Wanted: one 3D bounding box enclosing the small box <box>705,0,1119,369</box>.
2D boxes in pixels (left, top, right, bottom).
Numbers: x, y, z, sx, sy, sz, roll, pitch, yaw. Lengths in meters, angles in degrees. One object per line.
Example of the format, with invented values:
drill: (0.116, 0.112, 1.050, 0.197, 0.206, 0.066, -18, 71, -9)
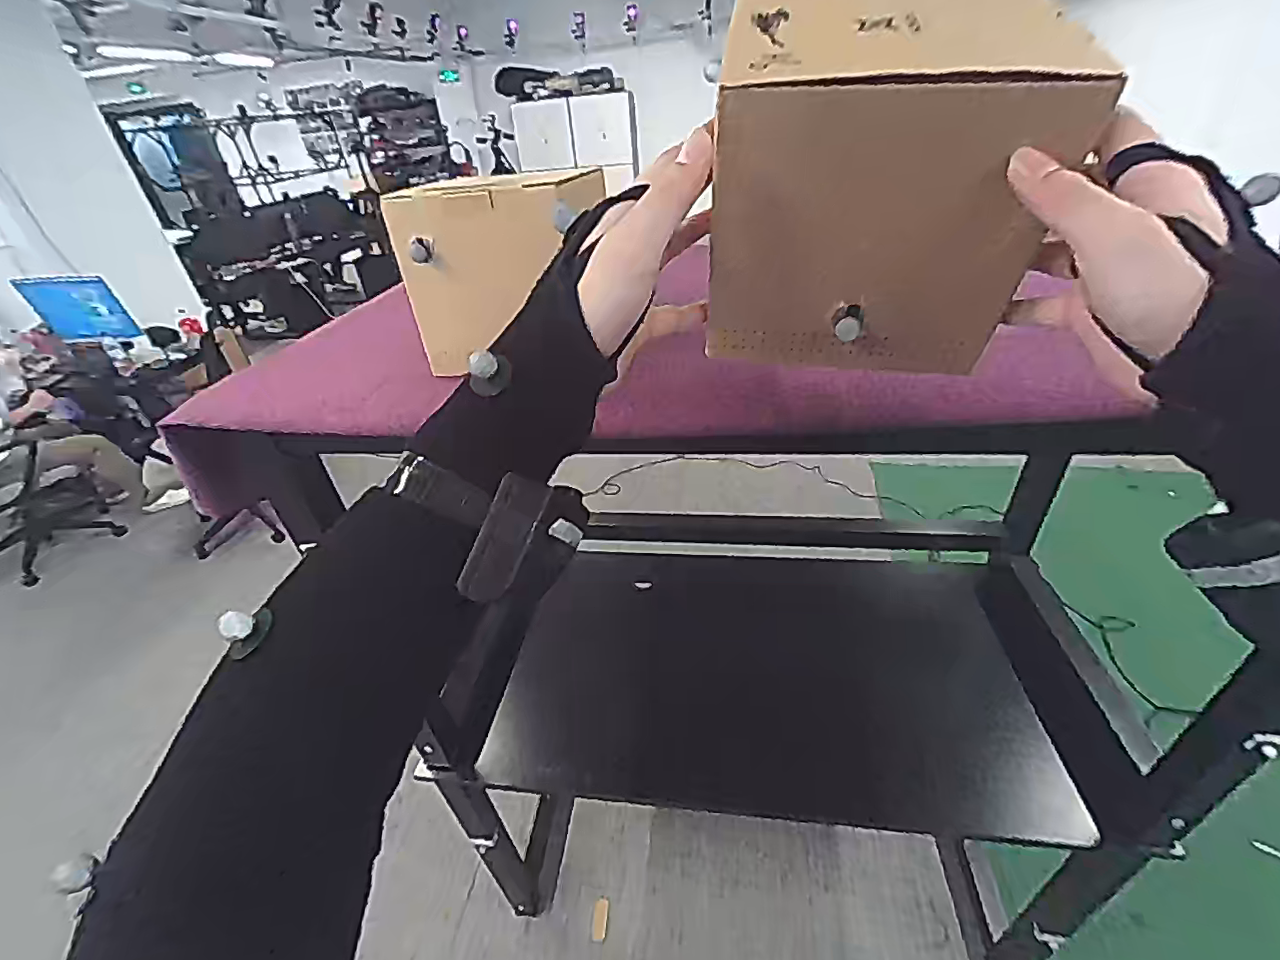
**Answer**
small box: (0.141, -0.191, 0.354, 0.179, 0.176, 0.168, 6, 52, 9)
